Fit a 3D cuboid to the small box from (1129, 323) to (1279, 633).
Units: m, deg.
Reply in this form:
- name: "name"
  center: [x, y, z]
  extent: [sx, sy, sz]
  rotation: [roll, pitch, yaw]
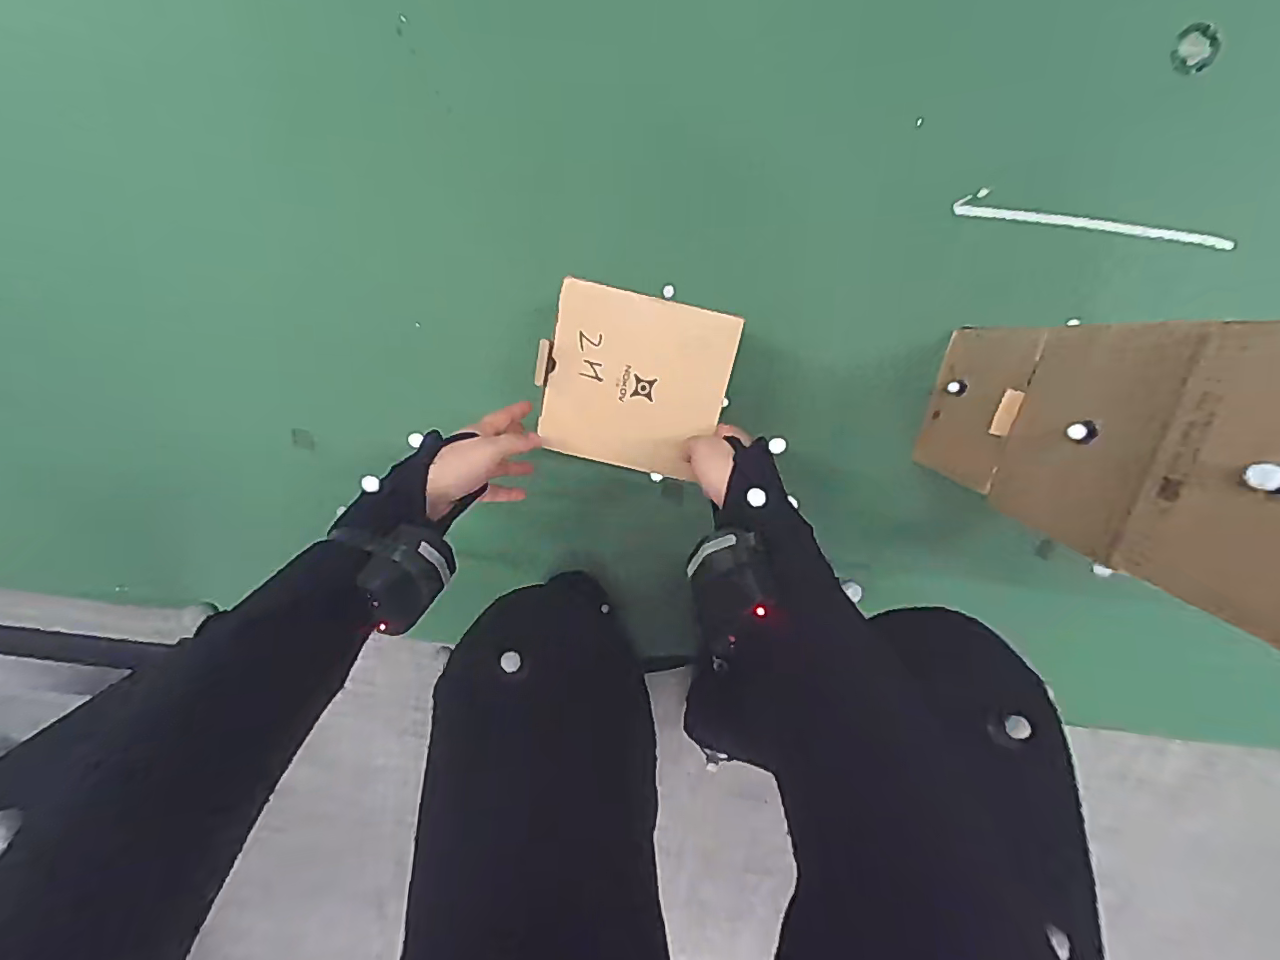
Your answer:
- name: "small box"
  center: [0.417, 0.013, 0.271]
  extent: [0.179, 0.176, 0.168]
  rotation: [10, 105, 0]

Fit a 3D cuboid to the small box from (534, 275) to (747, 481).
- name: "small box"
  center: [0.001, -0.115, 0.592]
  extent: [0.179, 0.176, 0.168]
  rotation: [13, 105, 0]

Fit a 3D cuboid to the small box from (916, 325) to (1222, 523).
- name: "small box"
  center: [0.442, -0.071, 0.587]
  extent: [0.179, 0.176, 0.168]
  rotation: [11, 106, 0]
